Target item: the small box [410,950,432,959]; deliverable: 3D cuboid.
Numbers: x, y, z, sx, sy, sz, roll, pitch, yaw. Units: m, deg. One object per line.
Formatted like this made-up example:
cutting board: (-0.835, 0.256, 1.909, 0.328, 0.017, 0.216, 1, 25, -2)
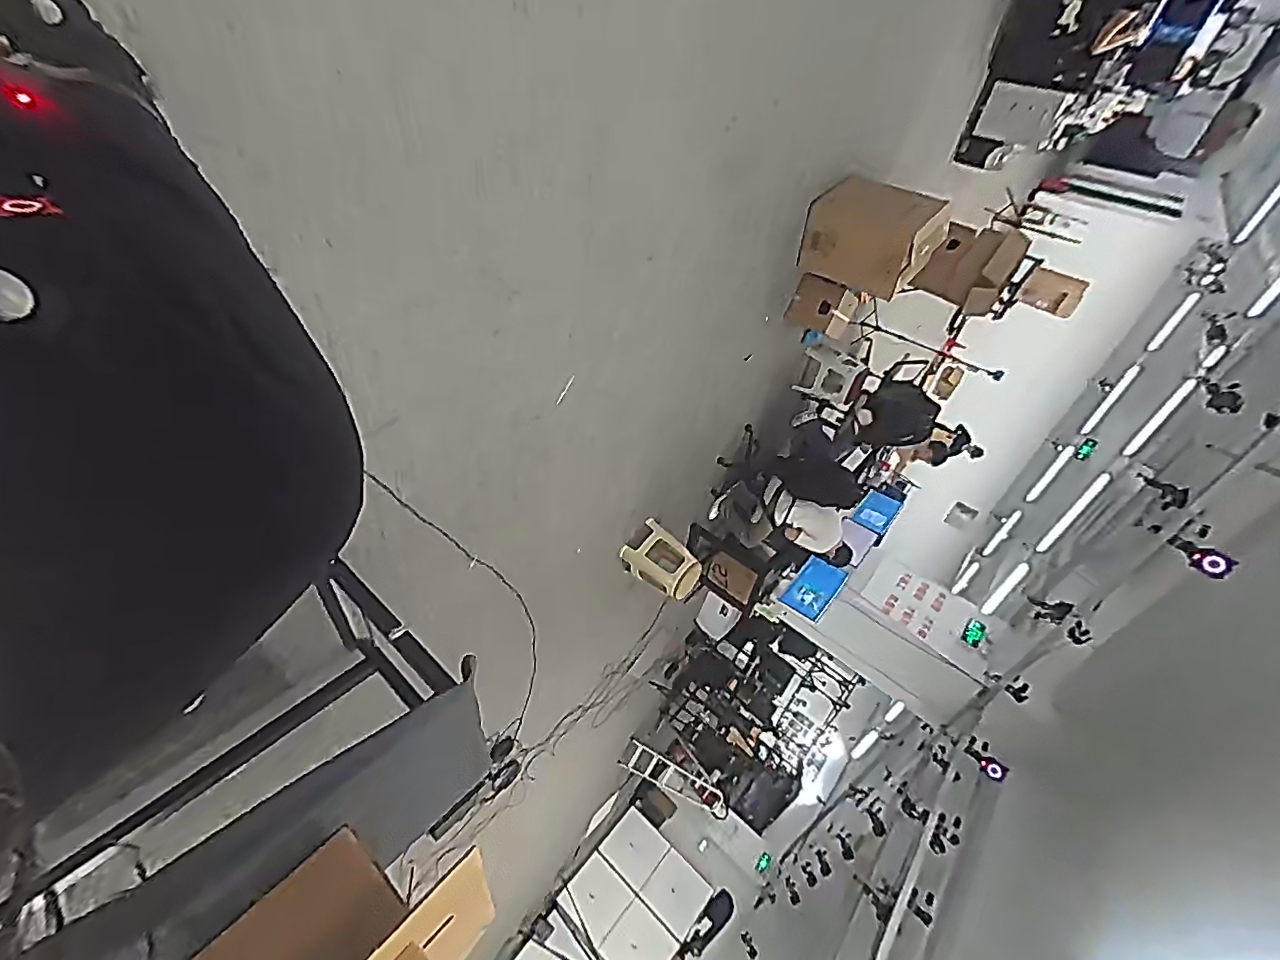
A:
small box: (-0.468, 1.134, 1.123, 0.168, 0.176, 0.179, -36, 146, -39)
